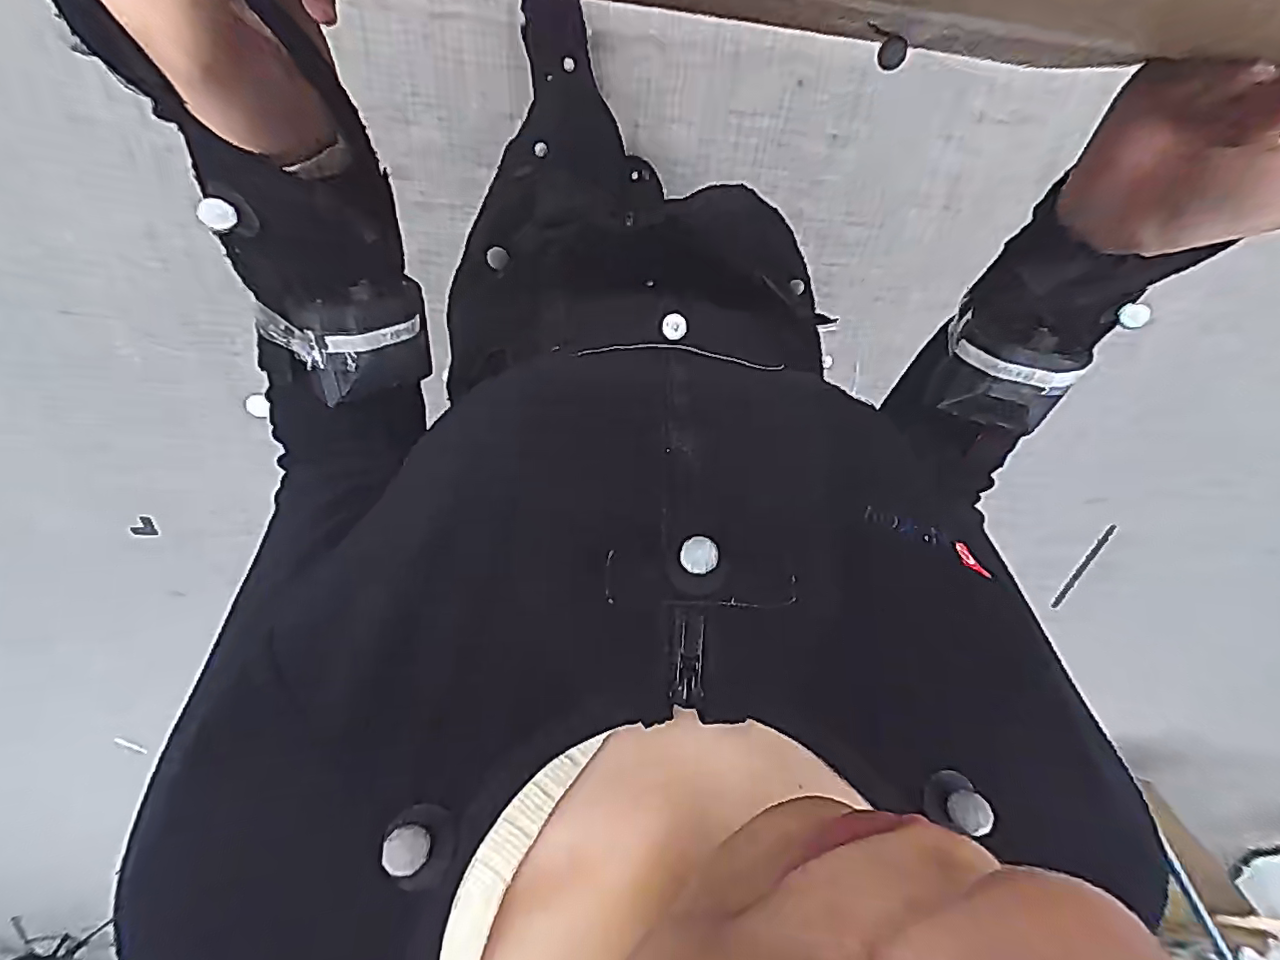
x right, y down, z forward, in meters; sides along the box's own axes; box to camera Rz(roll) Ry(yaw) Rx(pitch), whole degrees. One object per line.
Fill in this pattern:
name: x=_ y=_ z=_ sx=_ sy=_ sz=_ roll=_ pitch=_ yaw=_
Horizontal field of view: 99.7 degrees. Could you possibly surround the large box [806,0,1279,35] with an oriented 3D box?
large box: x=0.067 y=-0.313 z=0.094 sx=0.408 sy=0.320 sz=0.320 roll=2 pitch=127 yaw=-7
